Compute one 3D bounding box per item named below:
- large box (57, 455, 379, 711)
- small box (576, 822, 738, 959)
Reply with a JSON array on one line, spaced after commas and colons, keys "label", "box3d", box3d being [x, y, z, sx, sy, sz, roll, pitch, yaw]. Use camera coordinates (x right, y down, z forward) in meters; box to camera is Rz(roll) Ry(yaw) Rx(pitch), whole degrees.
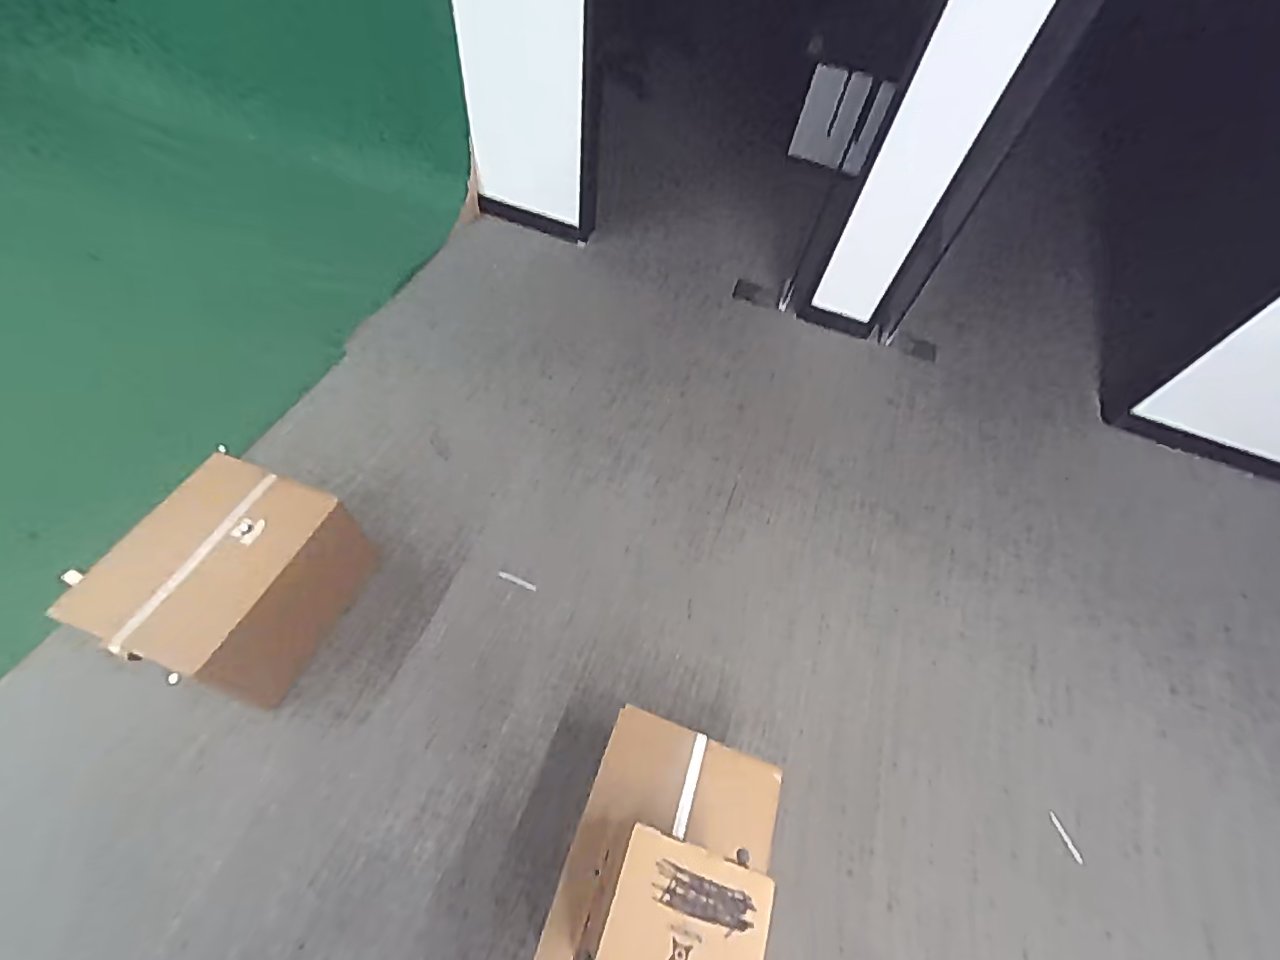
[{"label": "large box", "box3d": [-0.860, 0.227, 1.183, 0.320, 0.320, 0.408, 20, 55, 6]}, {"label": "small box", "box3d": [0.020, 0.606, 0.764, 0.179, 0.176, 0.168, 18, 56, 6]}]
